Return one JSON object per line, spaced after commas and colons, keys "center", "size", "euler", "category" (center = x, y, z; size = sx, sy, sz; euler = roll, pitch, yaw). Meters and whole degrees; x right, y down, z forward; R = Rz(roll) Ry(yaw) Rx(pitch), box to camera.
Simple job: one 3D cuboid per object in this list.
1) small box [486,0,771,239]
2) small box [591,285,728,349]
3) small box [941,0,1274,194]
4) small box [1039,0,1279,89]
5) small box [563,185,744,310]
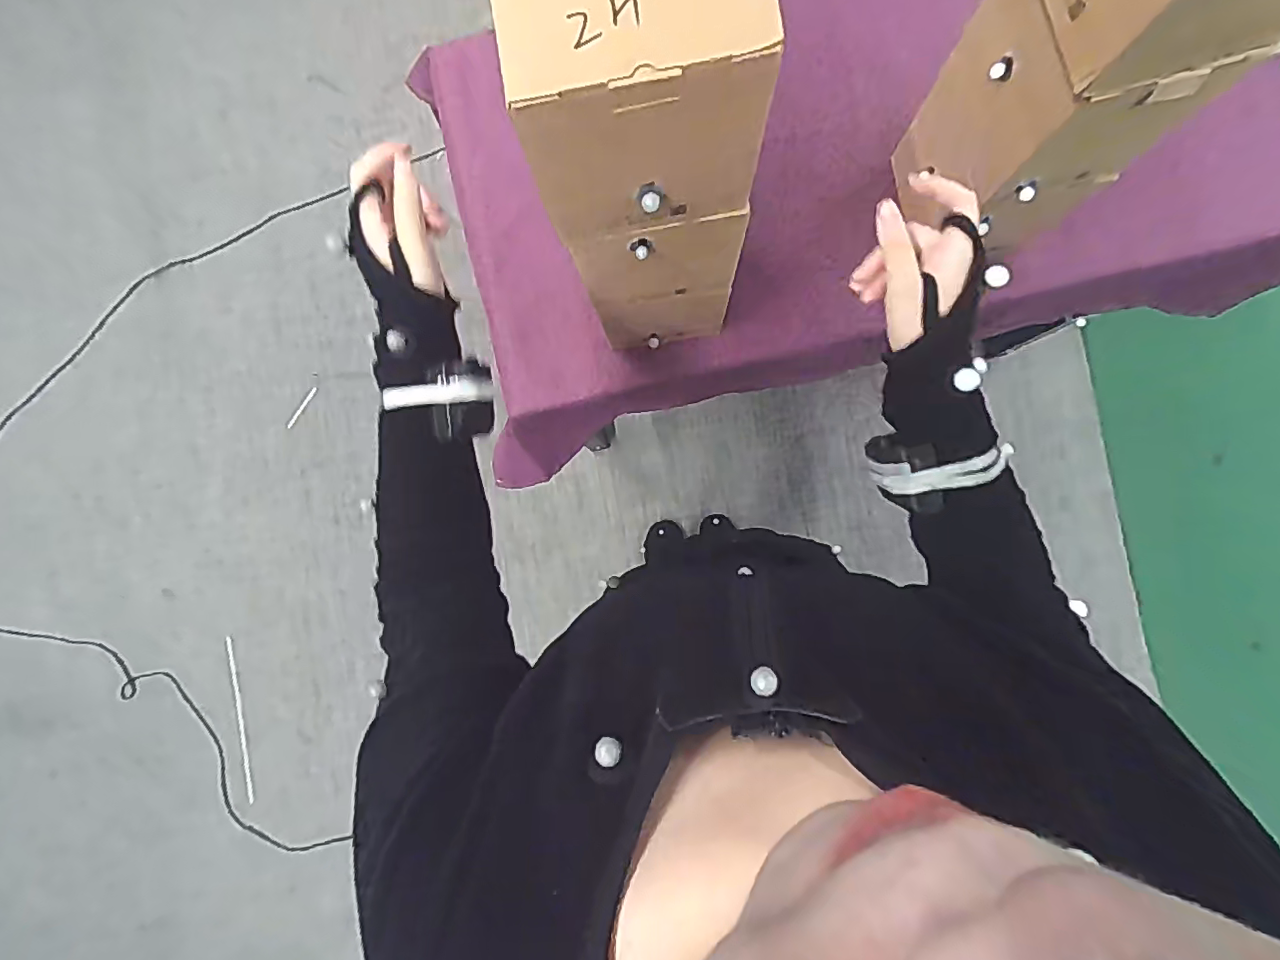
{"center": [-0.011, -0.315, 0.404], "size": [0.168, 0.176, 0.179], "euler": [-10, 87, 4], "category": "small box"}
{"center": [0.019, -0.294, 0.731], "size": [0.168, 0.176, 0.179], "euler": [-8, 87, 4], "category": "small box"}
{"center": [0.441, -0.421, 0.545], "size": [0.168, 0.176, 0.179], "euler": [-14, 85, 3], "category": "small box"}
{"center": [0.427, -0.432, 0.383], "size": [0.179, 0.176, 0.168], "euler": [-15, 86, 4], "category": "small box"}
{"center": [0.008, -0.303, 0.567], "size": [0.168, 0.176, 0.179], "euler": [-8, 86, 5], "category": "small box"}
